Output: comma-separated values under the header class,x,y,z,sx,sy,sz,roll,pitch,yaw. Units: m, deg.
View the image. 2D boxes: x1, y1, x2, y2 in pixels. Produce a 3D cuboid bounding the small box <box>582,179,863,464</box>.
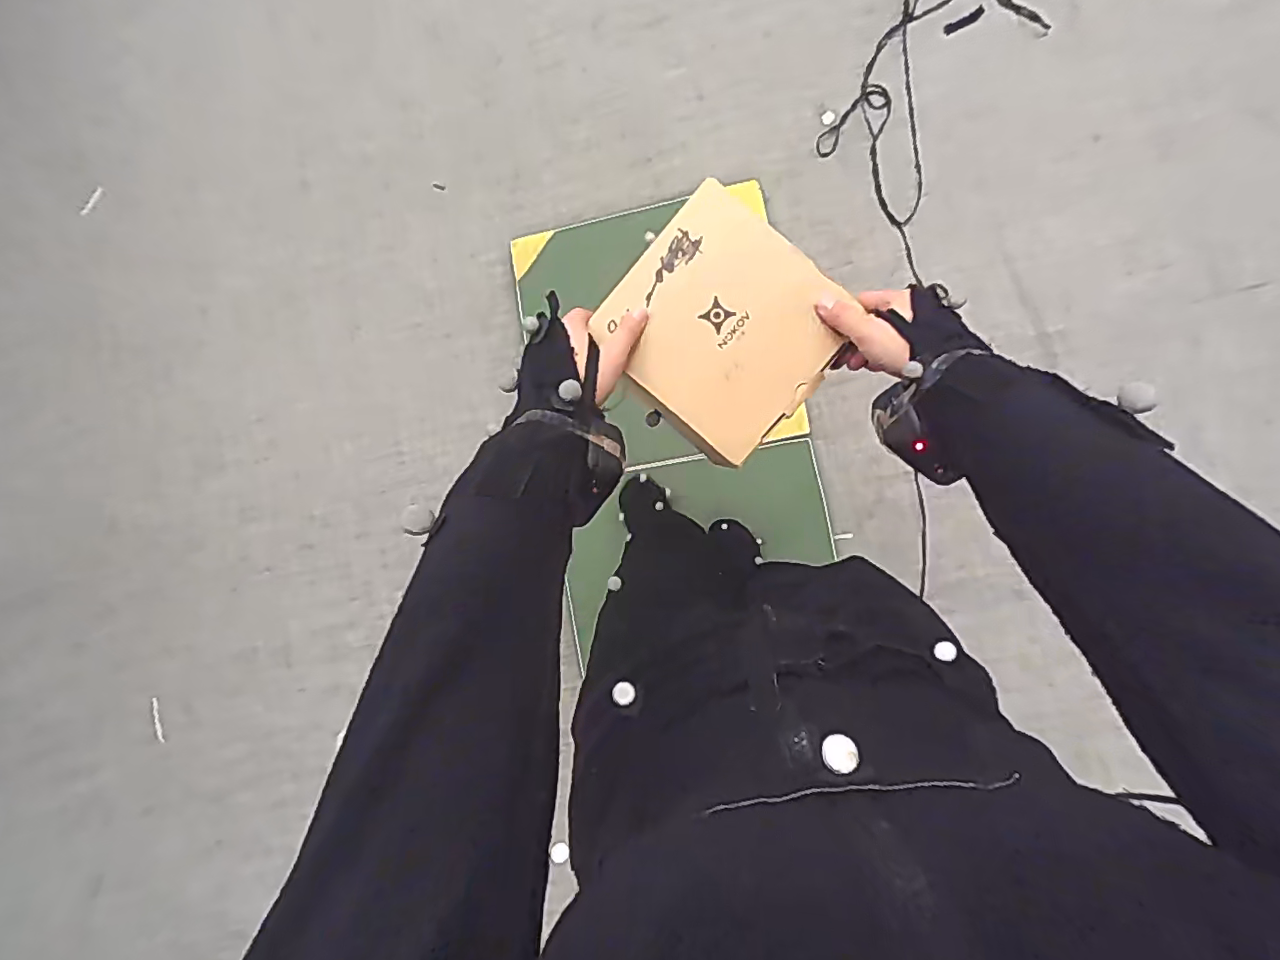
class,x,y,z,sx,sy,sz,roll,pitch,yaw
small box,0.070,-0.135,0.524,0.179,0.176,0.168,41,94,-1
